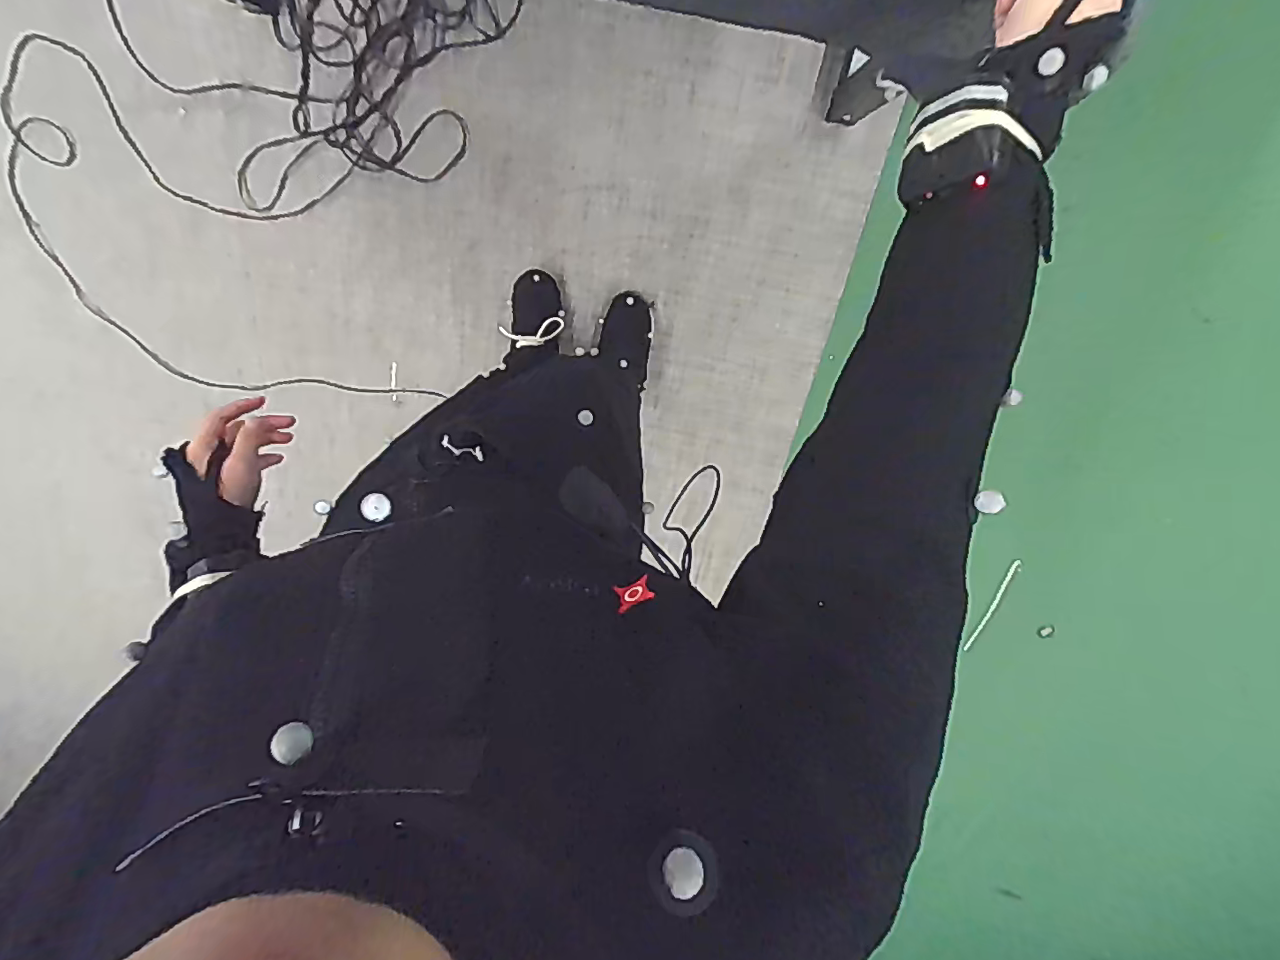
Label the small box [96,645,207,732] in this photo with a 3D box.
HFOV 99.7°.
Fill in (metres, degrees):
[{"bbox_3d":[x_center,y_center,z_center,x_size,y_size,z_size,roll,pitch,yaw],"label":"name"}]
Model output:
[{"bbox_3d":[-1.565,0.669,1.746,0.179,0.176,0.168,-30,111,16],"label":"small box"}]
